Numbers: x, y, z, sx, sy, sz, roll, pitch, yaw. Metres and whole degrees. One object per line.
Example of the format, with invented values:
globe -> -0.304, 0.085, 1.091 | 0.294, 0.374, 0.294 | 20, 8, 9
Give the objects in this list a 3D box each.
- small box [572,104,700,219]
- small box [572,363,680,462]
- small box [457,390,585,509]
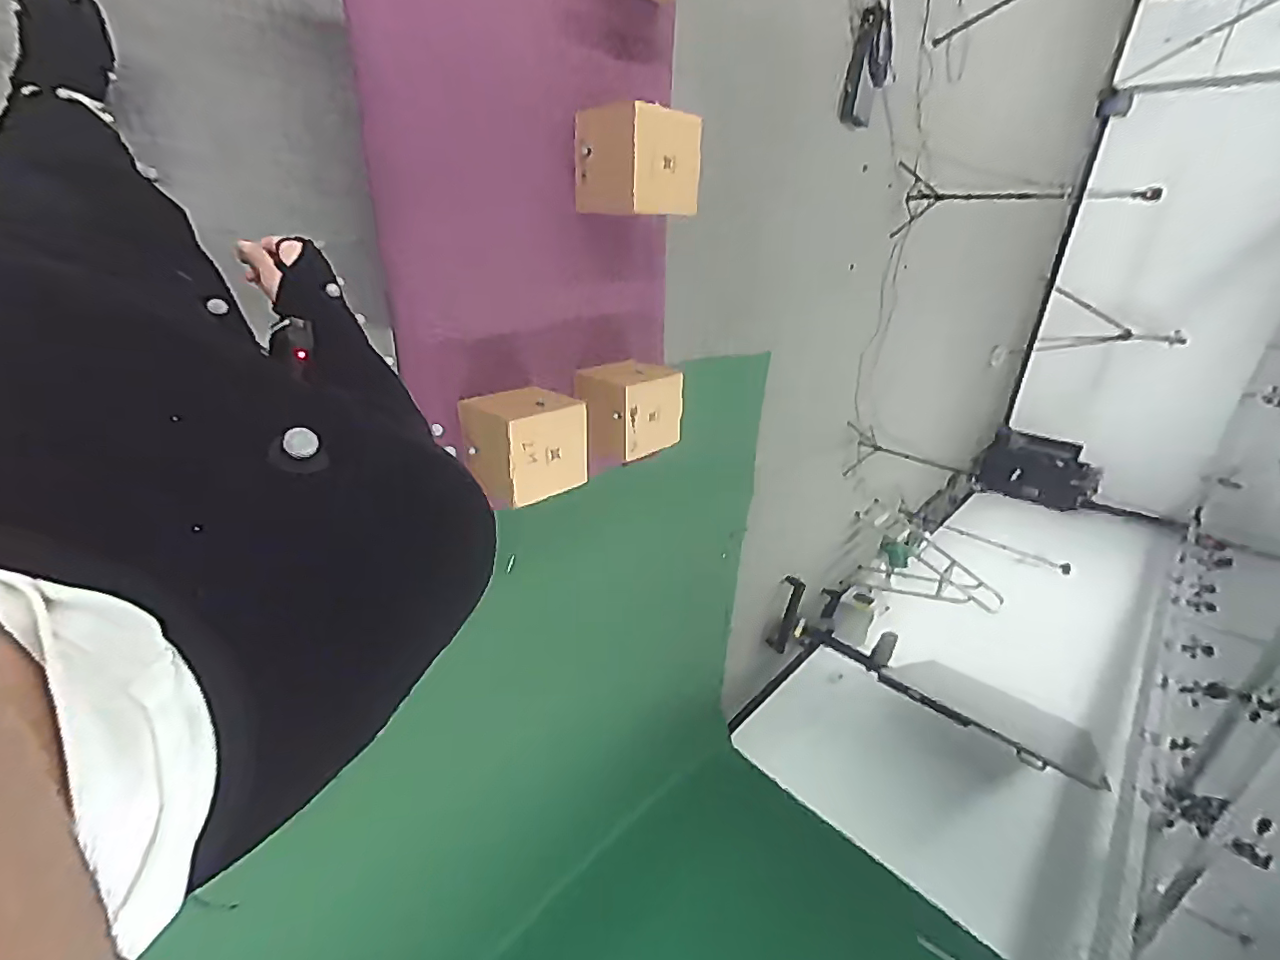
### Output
small box -> -0.010, -0.592, 1.023 | 0.179, 0.176, 0.168 | -21, 123, -41
small box -> -0.032, -0.159, 1.213 | 0.179, 0.176, 0.168 | -23, 124, -41
small box -> -0.224, -0.068, 1.035 | 0.179, 0.176, 0.168 | -21, 122, -42
